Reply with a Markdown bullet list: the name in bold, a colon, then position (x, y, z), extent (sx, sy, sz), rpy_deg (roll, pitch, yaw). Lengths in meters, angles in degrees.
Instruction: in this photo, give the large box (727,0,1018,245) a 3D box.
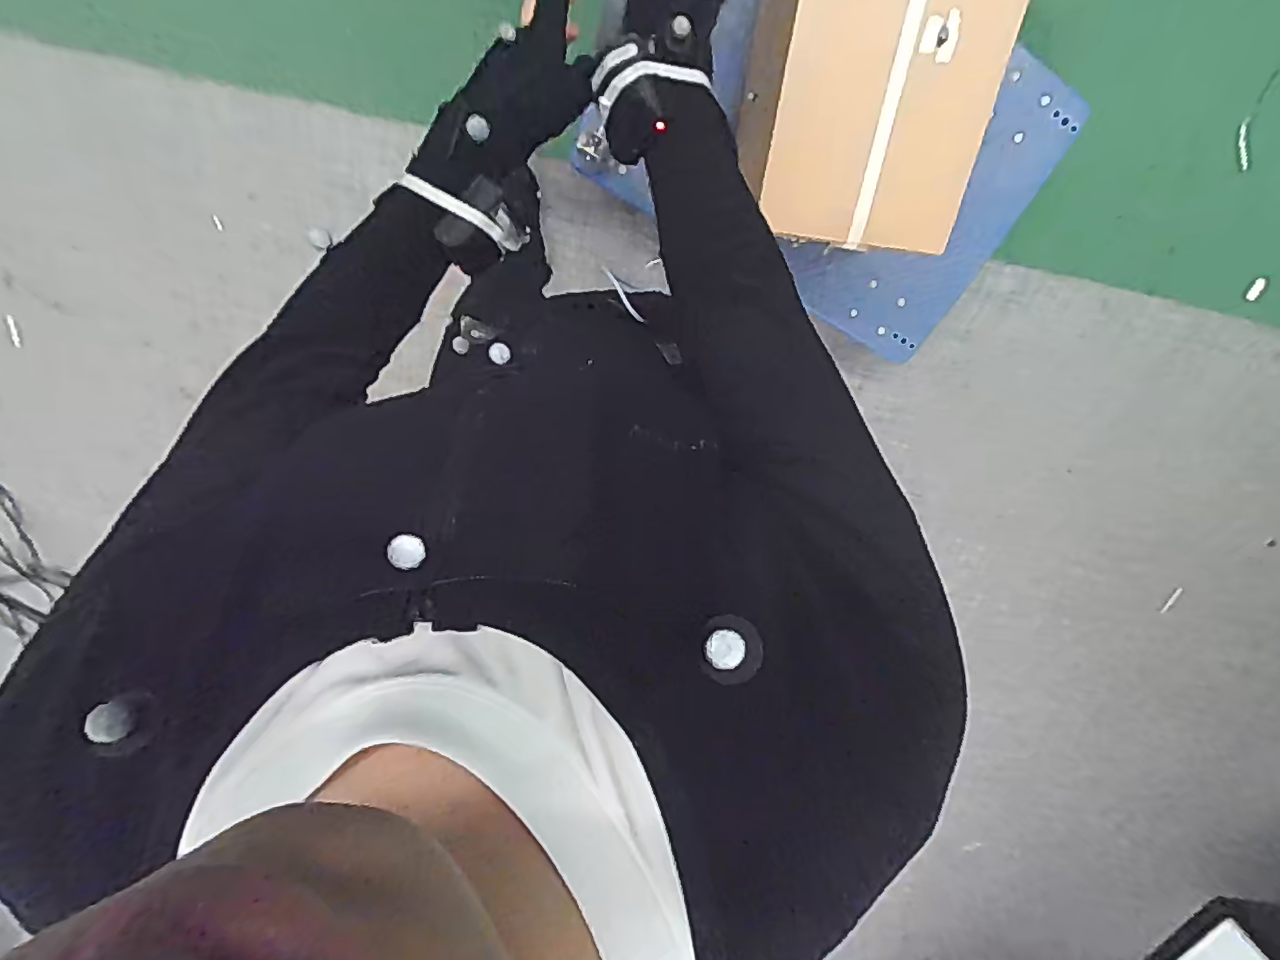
- **large box**: position (0.348, -0.628, 0.908), extent (0.320, 0.320, 0.408), rpy_deg (6, 115, -5)
